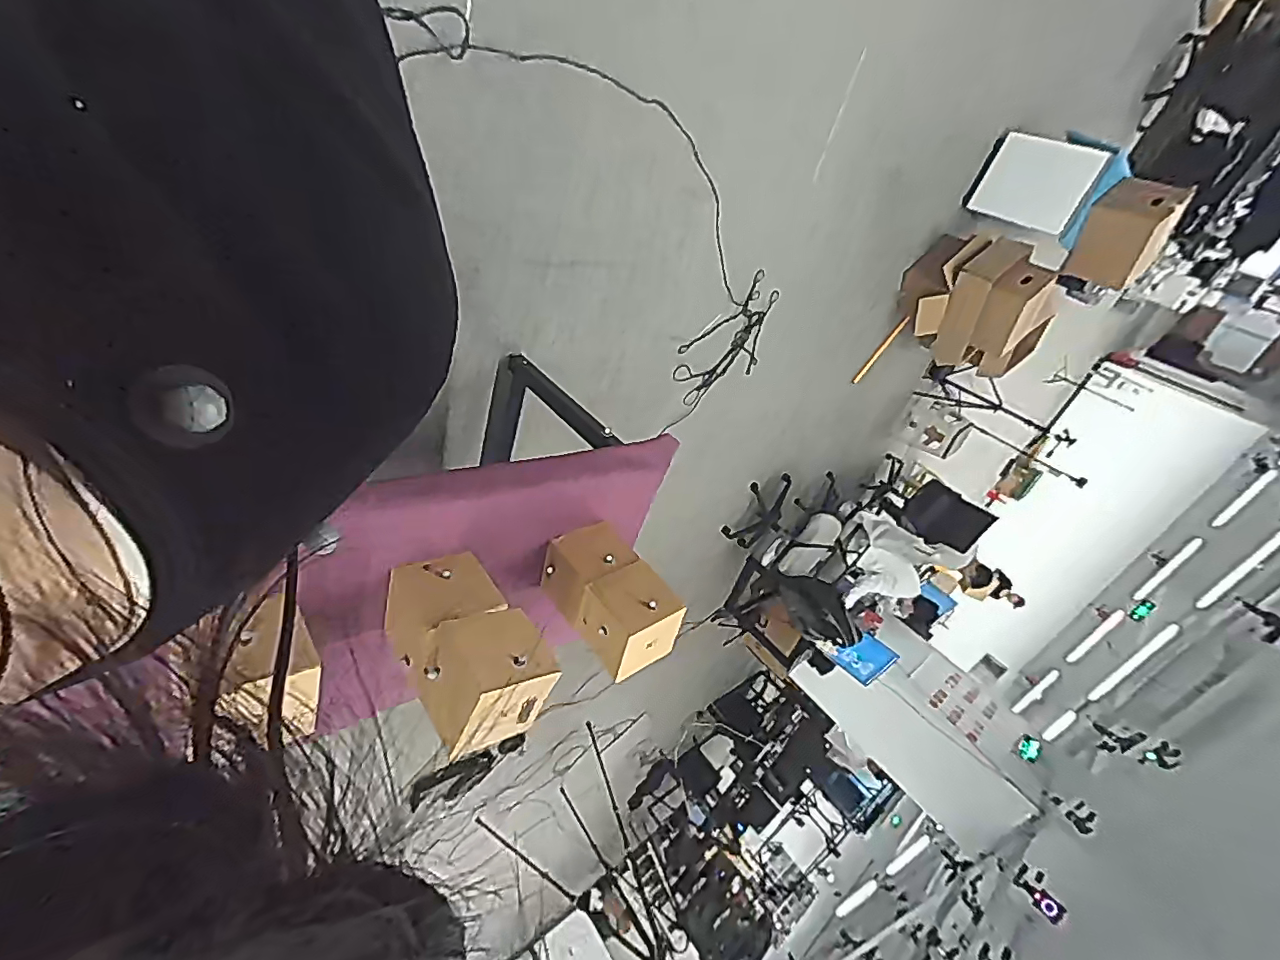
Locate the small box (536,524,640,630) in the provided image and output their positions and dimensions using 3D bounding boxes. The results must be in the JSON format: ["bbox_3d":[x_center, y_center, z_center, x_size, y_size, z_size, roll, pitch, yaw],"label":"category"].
[{"bbox_3d":[-0.132,0.231,1.340,0.179,0.176,0.168,-15,134,-39],"label":"small box"}]

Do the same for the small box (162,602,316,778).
[{"bbox_3d":[-0.634,0.314,0.853,0.168,0.176,0.179,-8,130,-45],"label":"small box"}]

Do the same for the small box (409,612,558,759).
[{"bbox_3d":[-0.290,0.363,0.994,0.179,0.176,0.168,4,122,-50],"label":"small box"}]

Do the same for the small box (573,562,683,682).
[{"bbox_3d":[-0.034,0.320,1.246,0.179,0.176,0.168,-18,135,-38],"label":"small box"}]

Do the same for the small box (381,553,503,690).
[{"bbox_3d":[-0.400,0.274,1.077,0.168,0.176,0.179,-9,131,-44],"label":"small box"}]
